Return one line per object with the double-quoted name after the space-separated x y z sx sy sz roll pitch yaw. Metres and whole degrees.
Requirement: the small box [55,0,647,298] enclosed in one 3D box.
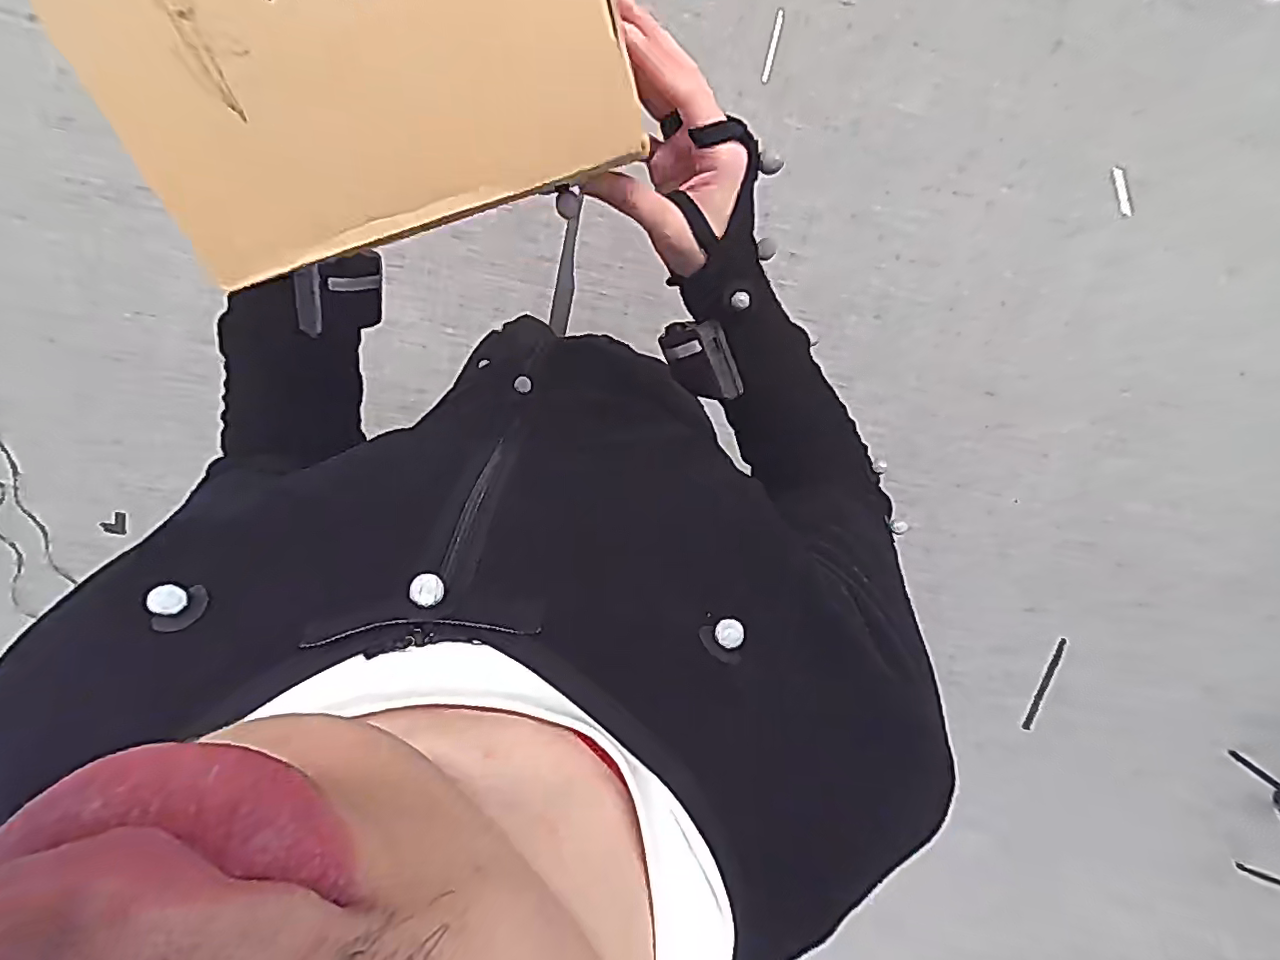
-0.102 -0.204 0.242 0.179 0.176 0.168 -14 118 11 "small box"
